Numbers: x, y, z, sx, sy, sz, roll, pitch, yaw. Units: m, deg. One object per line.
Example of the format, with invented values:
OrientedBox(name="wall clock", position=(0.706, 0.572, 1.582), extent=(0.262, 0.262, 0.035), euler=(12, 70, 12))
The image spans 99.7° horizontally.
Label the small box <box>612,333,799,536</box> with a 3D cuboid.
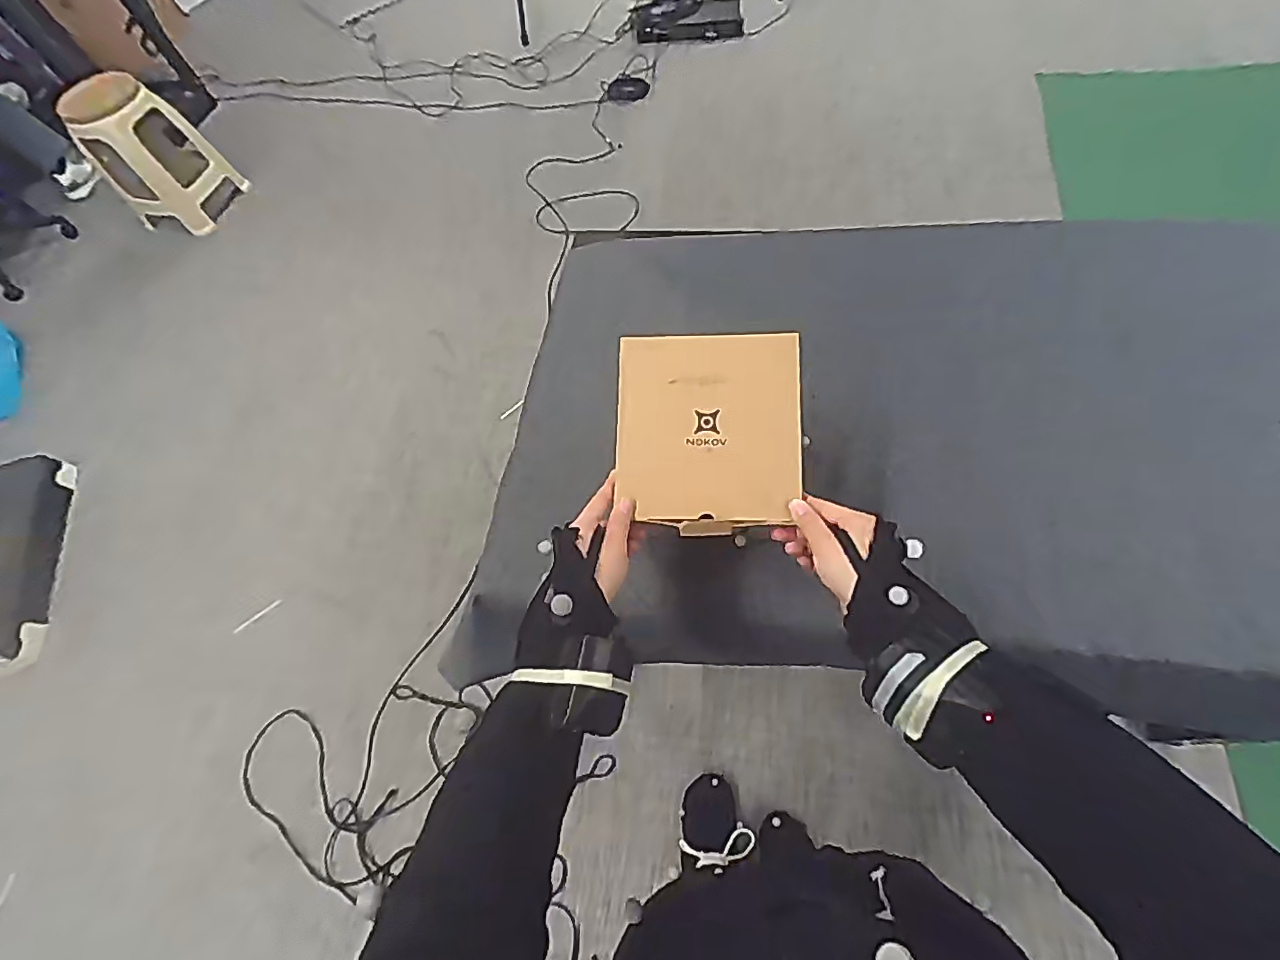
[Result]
OrientedBox(name="small box", position=(0.068, -0.034, 0.562), extent=(0.168, 0.176, 0.179), euler=(0, 79, 6))
